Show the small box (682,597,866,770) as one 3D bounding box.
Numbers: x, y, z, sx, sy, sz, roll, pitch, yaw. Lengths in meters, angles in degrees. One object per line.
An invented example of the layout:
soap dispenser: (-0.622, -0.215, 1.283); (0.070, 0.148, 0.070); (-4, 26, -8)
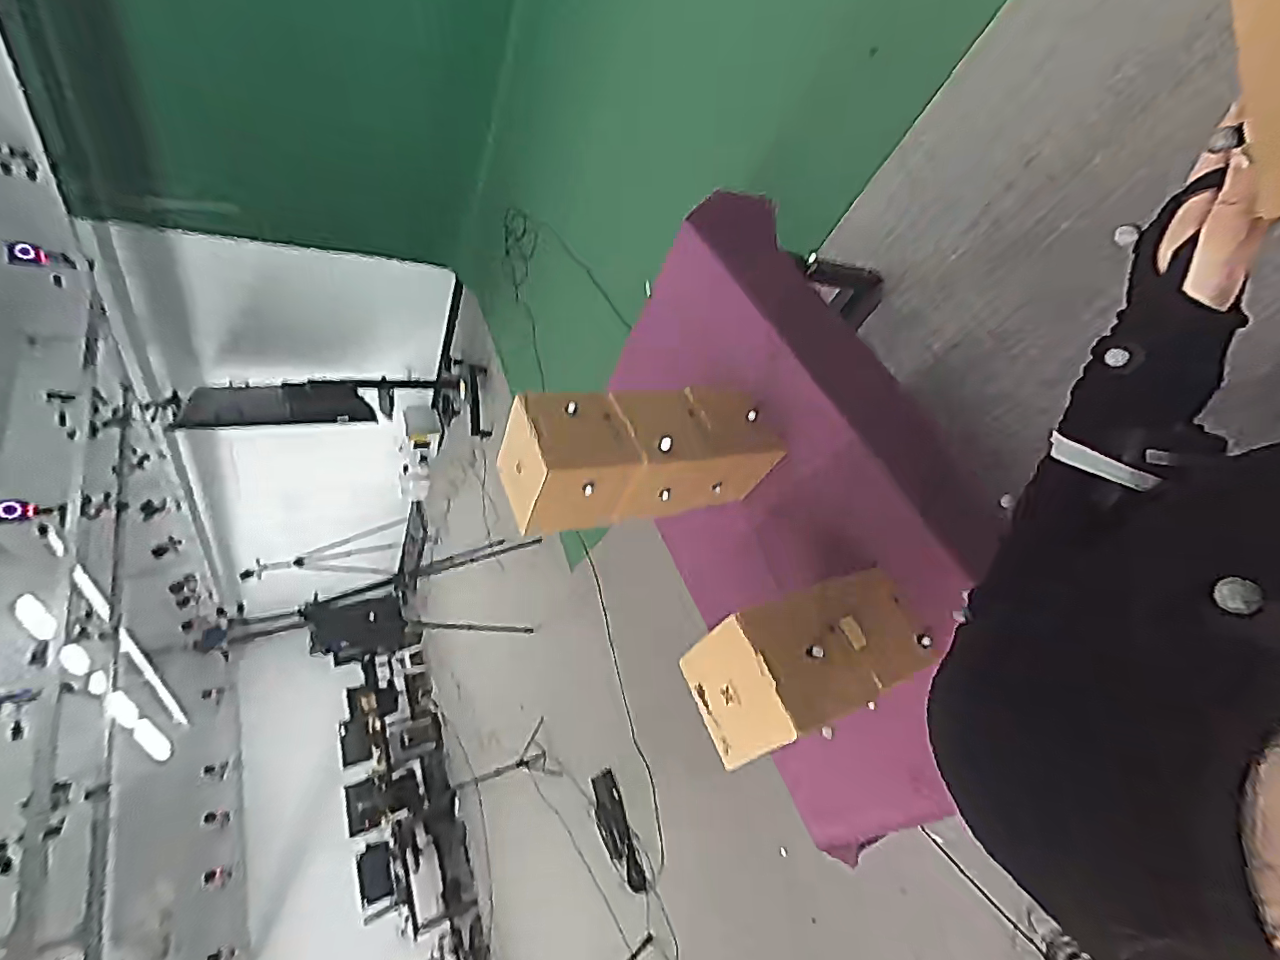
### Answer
small box: (0.196, 0.289, 0.788); (0.179, 0.176, 0.168); (-56, 49, 43)

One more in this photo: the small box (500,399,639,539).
small box: (-0.120, -0.023, 0.923); (0.168, 0.176, 0.179); (63, 143, 30)

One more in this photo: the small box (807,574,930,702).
small box: (0.333, 0.272, 0.878); (0.168, 0.176, 0.179); (63, 142, 30)

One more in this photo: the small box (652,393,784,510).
small box: (0.156, -0.058, 1.096); (0.179, 0.176, 0.168); (-55, 51, 45)
